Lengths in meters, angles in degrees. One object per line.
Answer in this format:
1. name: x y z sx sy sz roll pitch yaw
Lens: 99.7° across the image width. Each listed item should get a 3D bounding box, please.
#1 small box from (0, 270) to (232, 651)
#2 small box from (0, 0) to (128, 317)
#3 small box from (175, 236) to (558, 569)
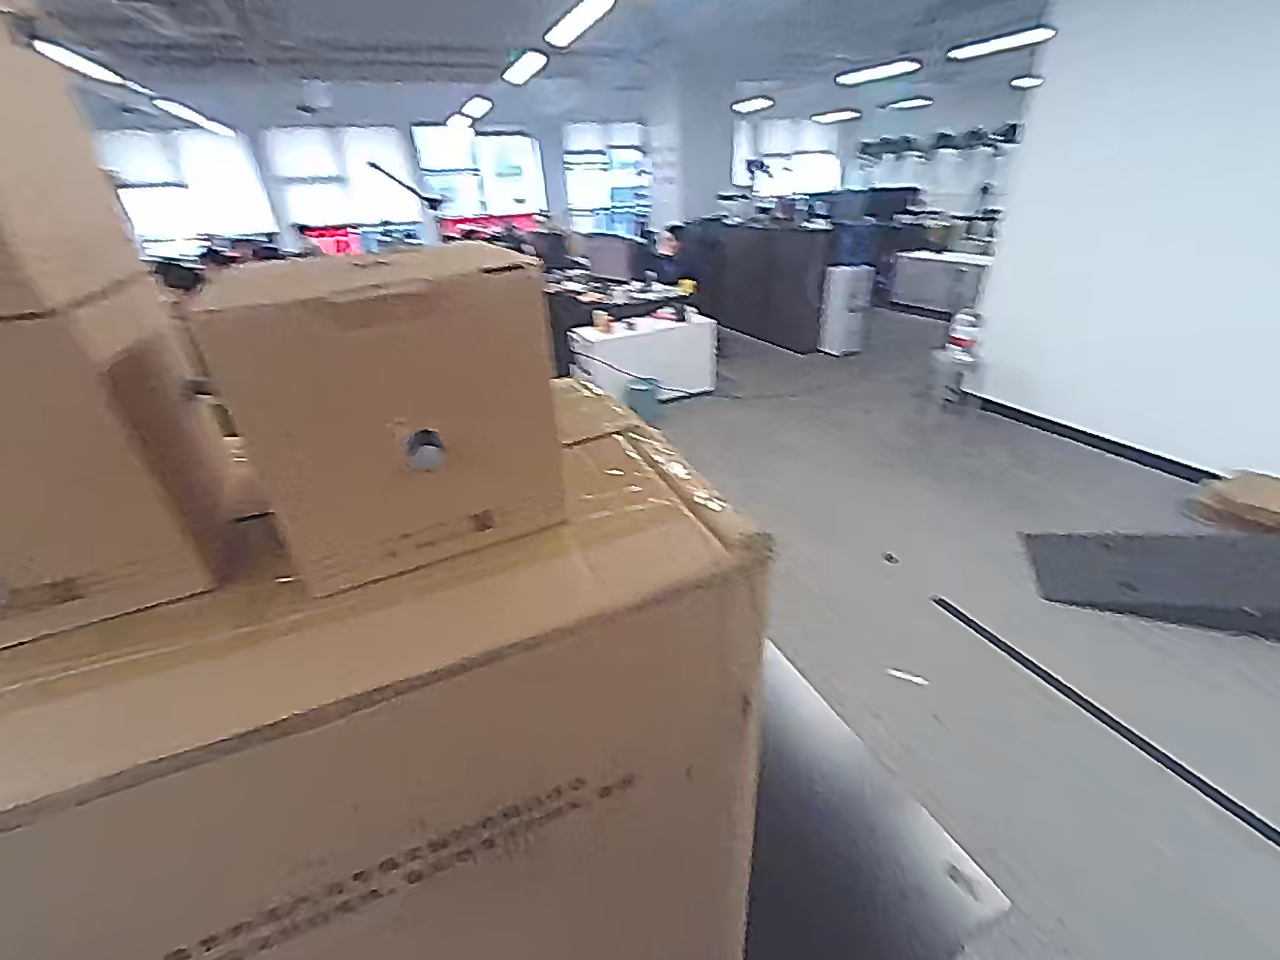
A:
1. small box: -0.371 -0.018 0.318 0.168 0.176 0.179 -18 33 -24
2. small box: -0.379 -0.161 0.236 0.168 0.176 0.179 -16 32 -22
3. small box: -0.164 -0.059 0.368 0.168 0.176 0.179 -16 33 -22
